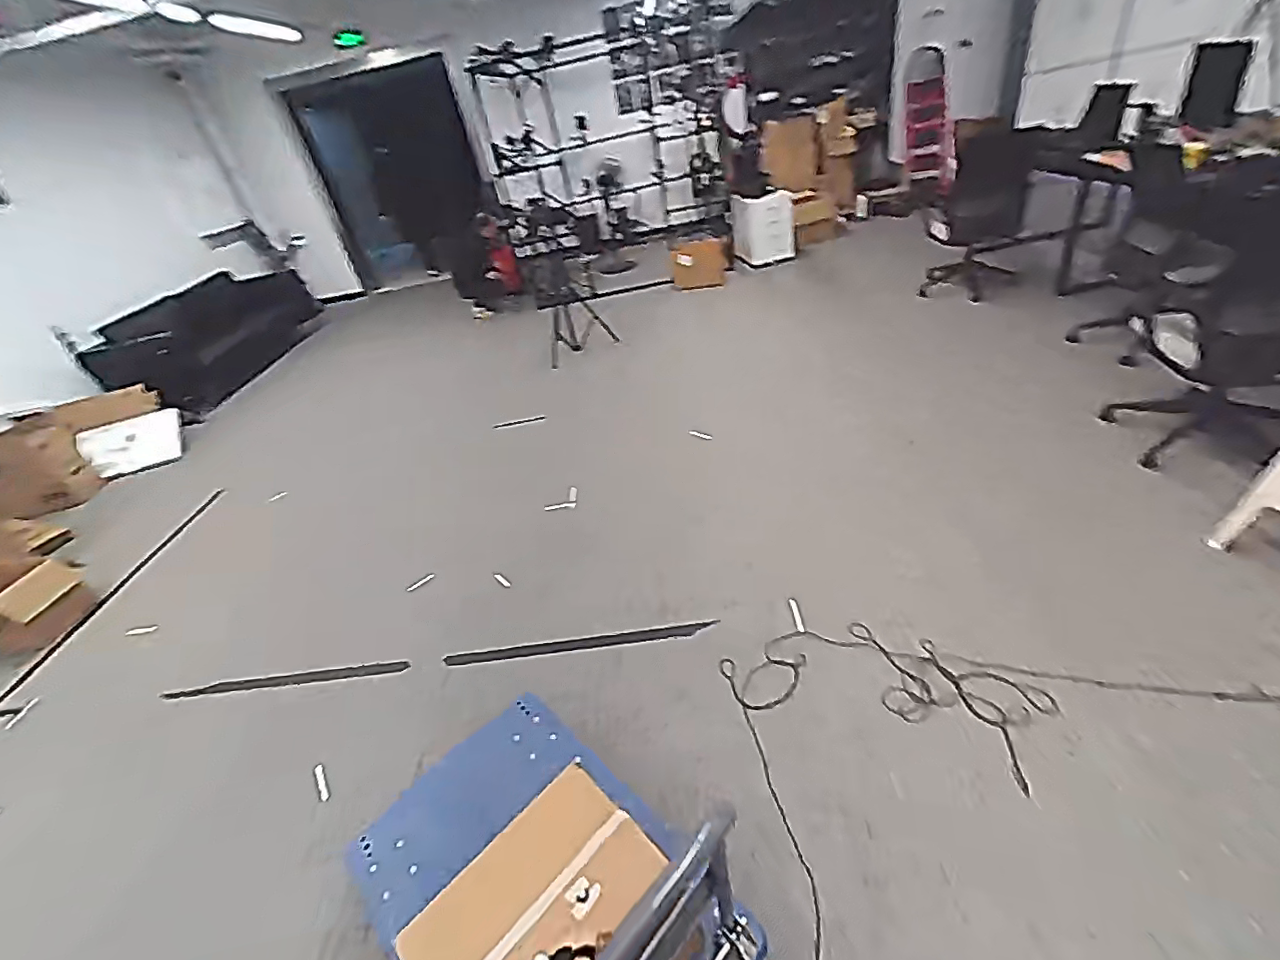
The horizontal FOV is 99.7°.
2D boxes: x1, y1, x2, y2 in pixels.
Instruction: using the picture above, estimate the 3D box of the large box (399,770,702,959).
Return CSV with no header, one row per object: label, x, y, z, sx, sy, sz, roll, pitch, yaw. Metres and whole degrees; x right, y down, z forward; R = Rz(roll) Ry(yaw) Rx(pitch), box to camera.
large box,-0.142,0.858,0.988,0.408,0.320,0.320,-35,41,-30
